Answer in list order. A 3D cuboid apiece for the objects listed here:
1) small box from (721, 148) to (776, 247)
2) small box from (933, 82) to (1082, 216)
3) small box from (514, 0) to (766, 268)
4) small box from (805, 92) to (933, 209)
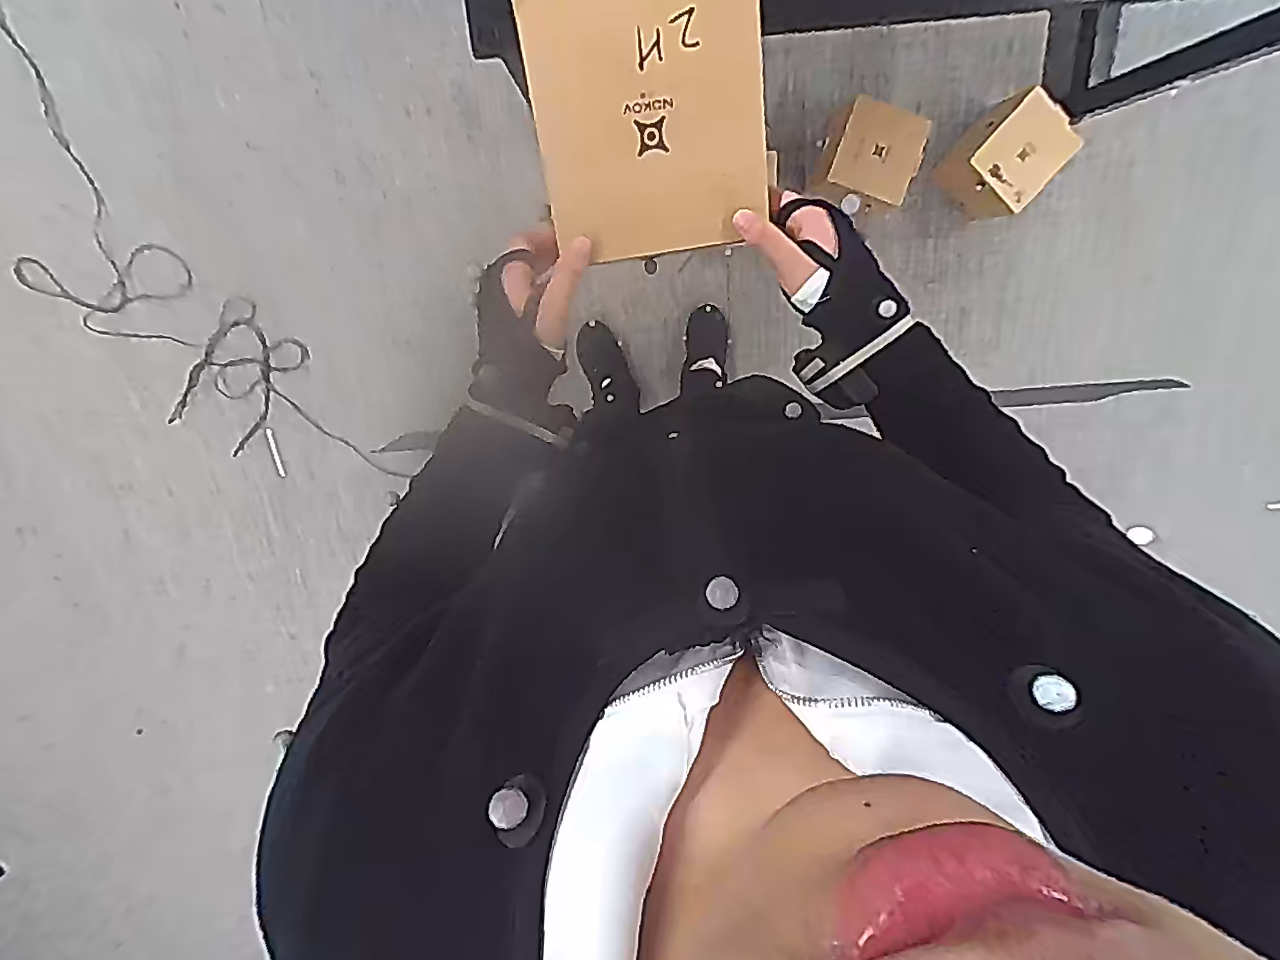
[{"bbox_3d":[0.206,-0.627,1.220,0.168,0.176,0.179,-5,112,1],"label":"small box"},{"bbox_3d":[0.797,-0.715,1.193,0.168,0.176,0.179,37,106,-13],"label":"small box"},{"bbox_3d":[0.003,-0.286,0.462,0.168,0.176,0.179,-9,111,-1],"label":"small box"},{"bbox_3d":[0.493,-0.713,1.193,0.179,0.176,0.168,15,109,-5],"label":"small box"}]
